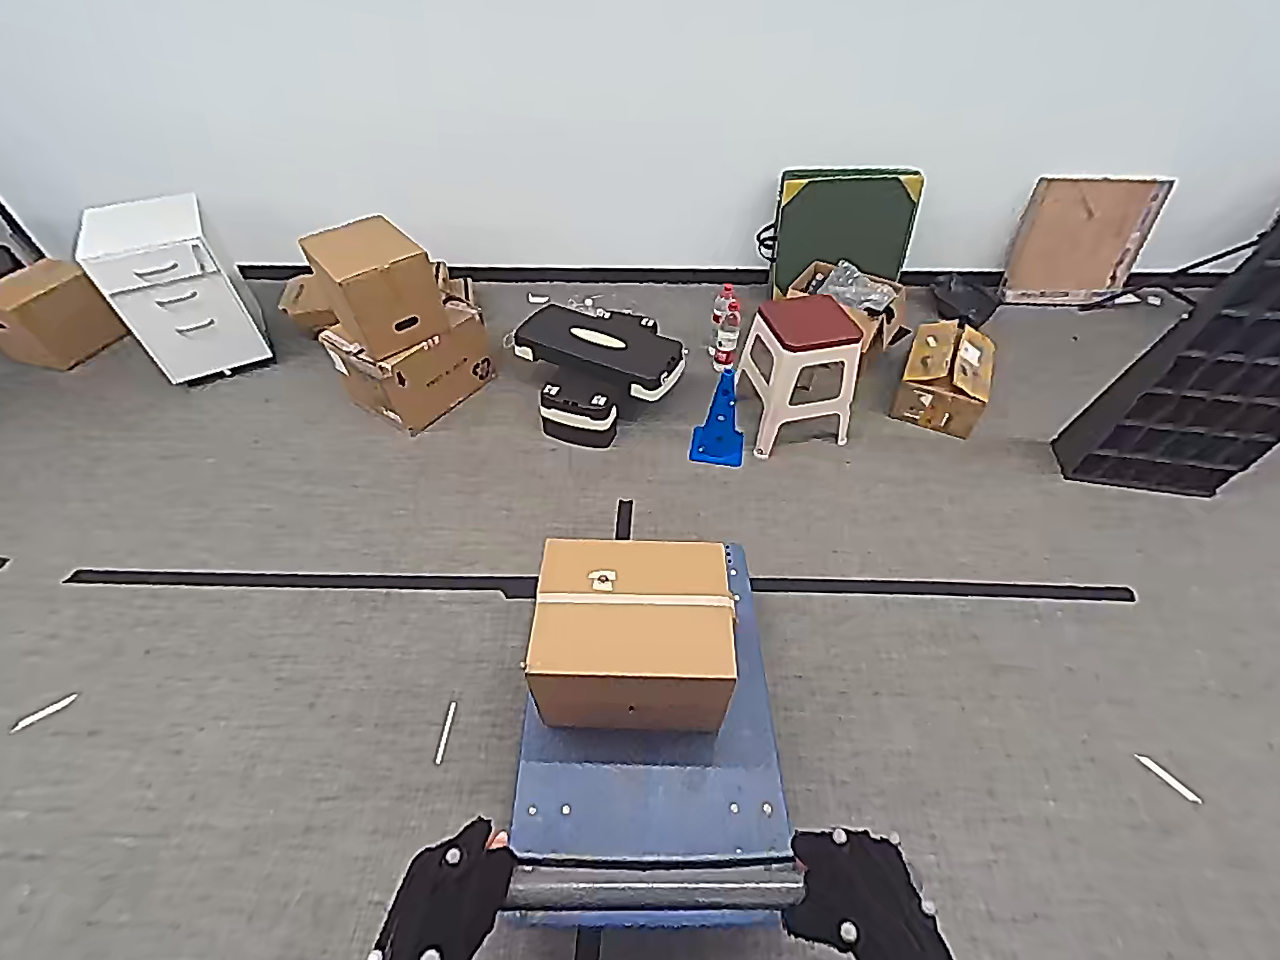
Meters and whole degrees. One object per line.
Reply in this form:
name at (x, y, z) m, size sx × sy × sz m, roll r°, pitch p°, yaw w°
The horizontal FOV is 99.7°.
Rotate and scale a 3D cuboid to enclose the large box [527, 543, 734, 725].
large box at (-0.014, 0.357, 1.236) m, size 0.408 × 0.320 × 0.320 m, roll 1°, pitch 48°, yaw 1°
